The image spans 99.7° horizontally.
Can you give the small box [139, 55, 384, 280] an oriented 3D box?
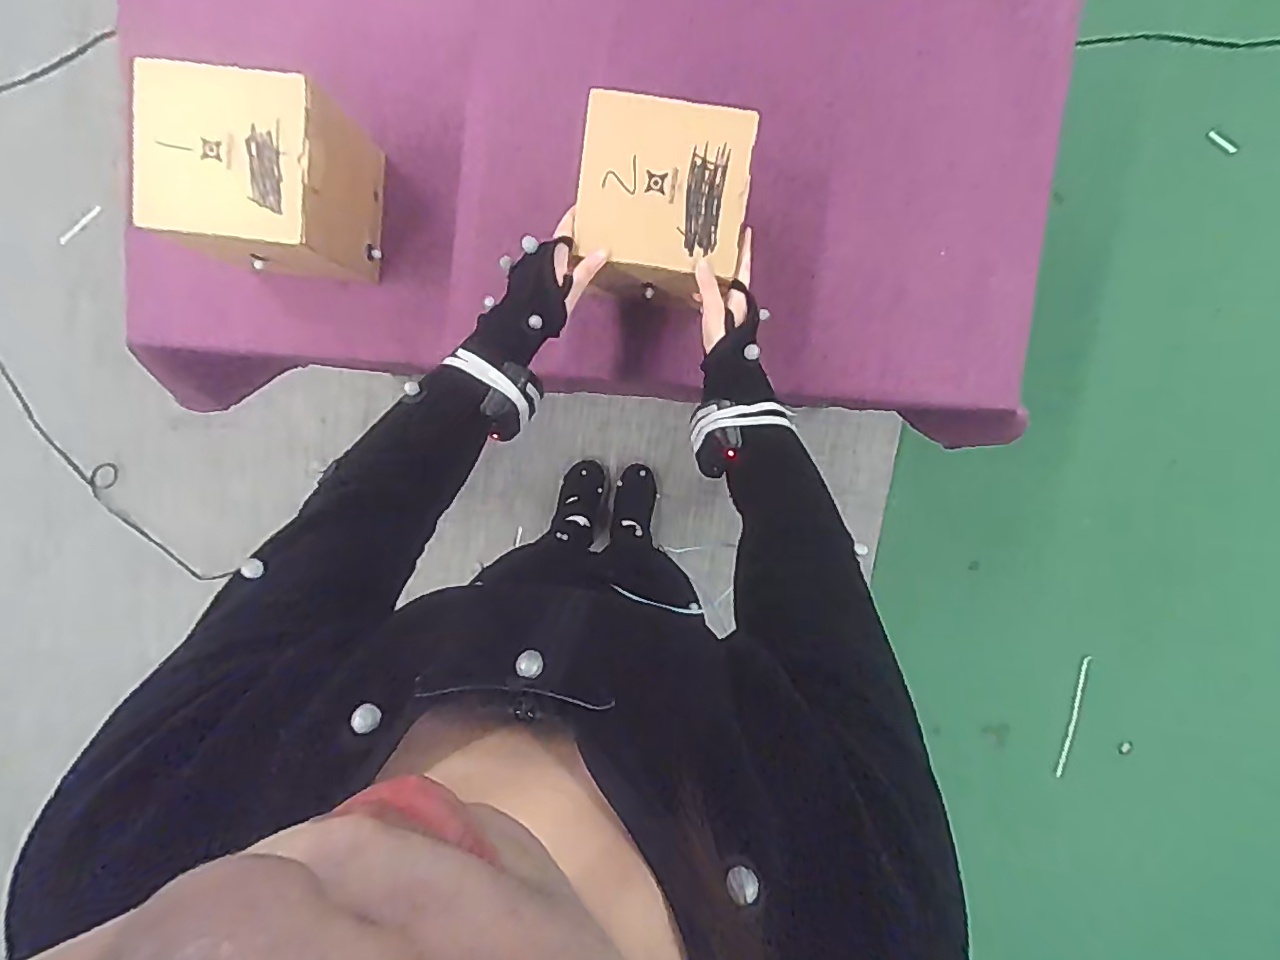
[{"bbox_3d":[-0.421,-0.342,0.628,0.179,0.176,0.168,6,96,-1],"label":"small box"}]
